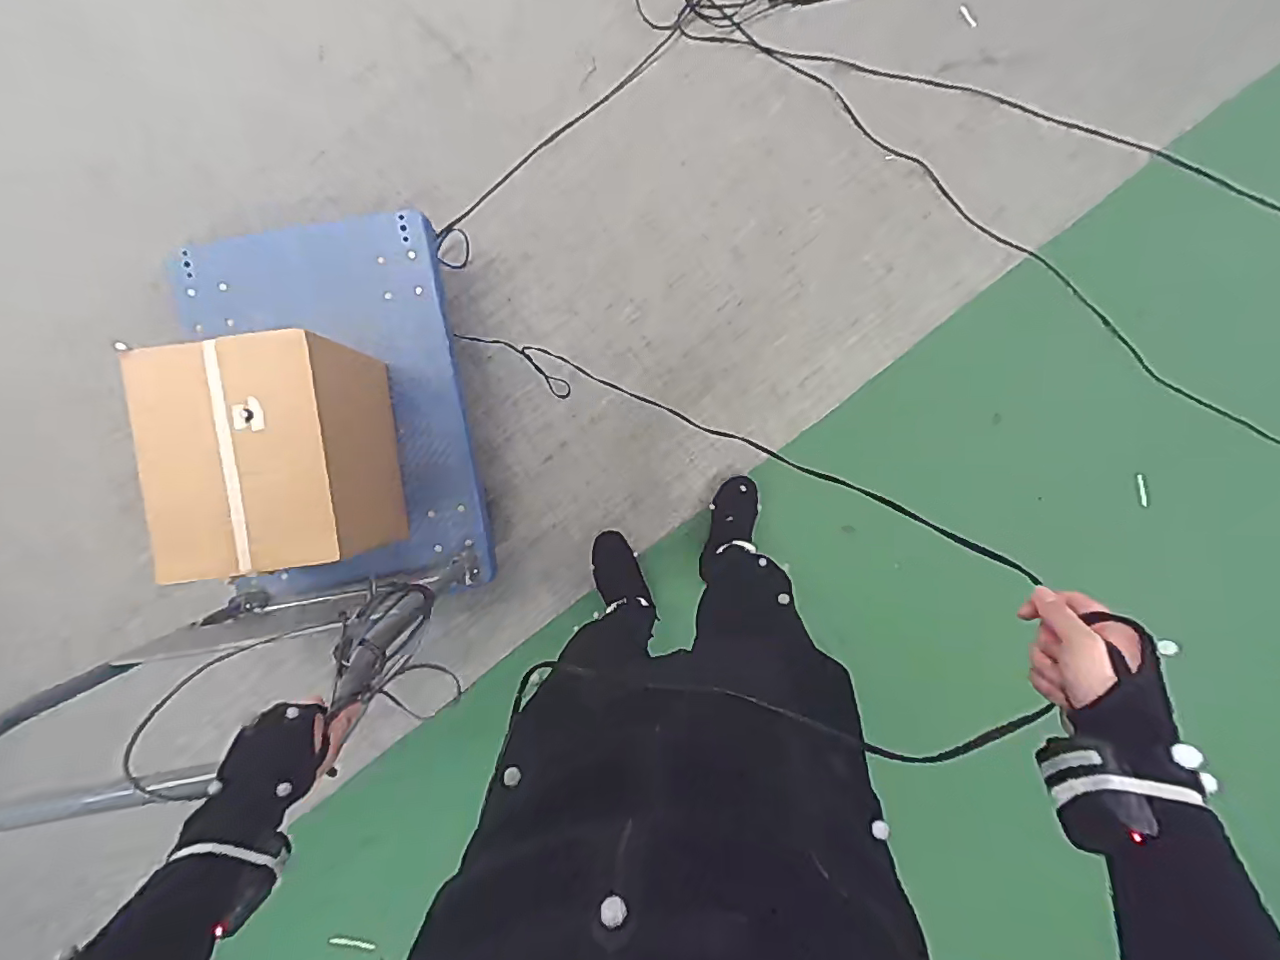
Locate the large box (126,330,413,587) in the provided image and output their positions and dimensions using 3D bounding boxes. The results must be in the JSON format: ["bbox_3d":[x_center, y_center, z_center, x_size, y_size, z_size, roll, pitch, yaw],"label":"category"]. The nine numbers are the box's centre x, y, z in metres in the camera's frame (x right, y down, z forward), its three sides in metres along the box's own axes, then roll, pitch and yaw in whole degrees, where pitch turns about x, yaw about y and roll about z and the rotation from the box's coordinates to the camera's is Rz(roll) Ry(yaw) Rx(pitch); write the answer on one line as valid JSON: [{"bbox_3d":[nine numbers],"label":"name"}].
[{"bbox_3d":[-0.680,-0.038,1.056,0.320,0.320,0.408,-7,92,-2],"label":"large box"}]
